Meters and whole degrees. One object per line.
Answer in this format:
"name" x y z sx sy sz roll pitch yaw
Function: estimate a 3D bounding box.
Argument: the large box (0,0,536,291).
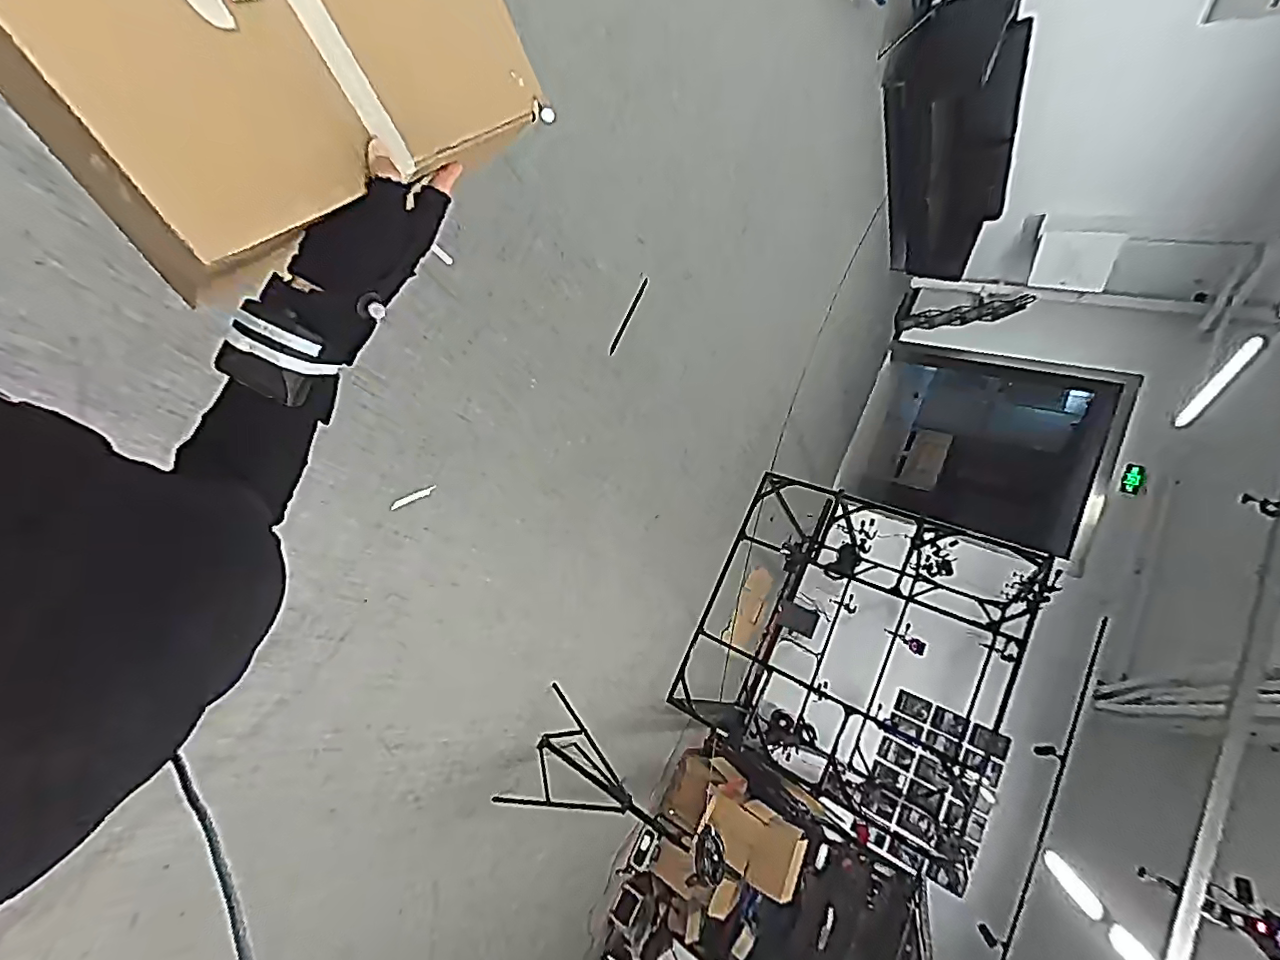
"large box" -0.369 -0.422 0.439 0.320 0.320 0.408 -44 125 -25
